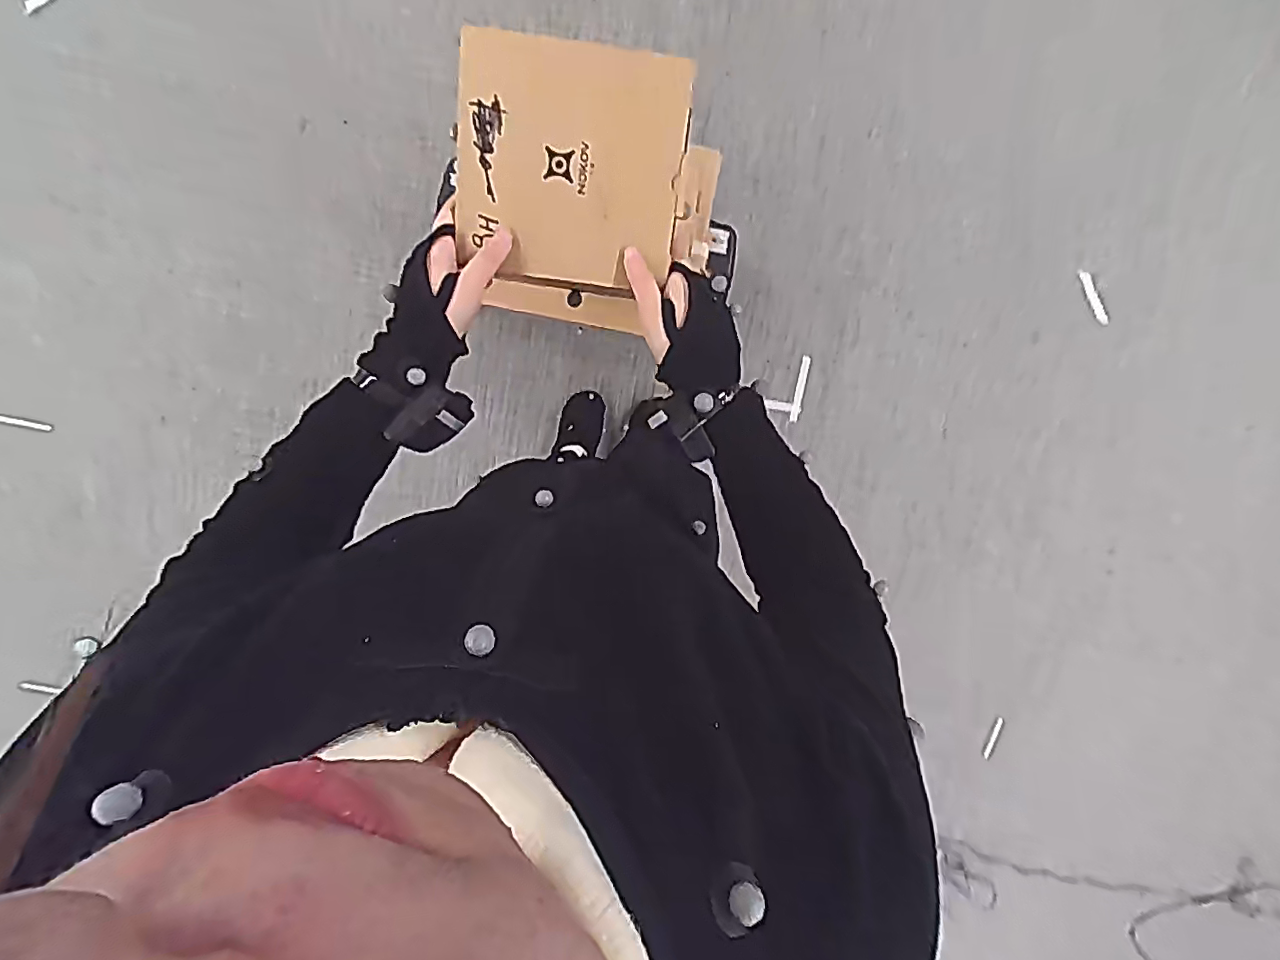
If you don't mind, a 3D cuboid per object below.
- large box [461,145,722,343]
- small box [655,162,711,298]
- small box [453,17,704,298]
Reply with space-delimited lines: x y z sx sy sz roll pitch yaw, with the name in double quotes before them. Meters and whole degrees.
"large box" -0.084 -0.451 1.043 0.408 0.320 0.320 11 102 -2
"small box" -0.005 -0.374 0.810 0.179 0.176 0.168 10 103 -2
"small box" -0.052 -0.260 0.483 0.179 0.176 0.168 7 105 -4
